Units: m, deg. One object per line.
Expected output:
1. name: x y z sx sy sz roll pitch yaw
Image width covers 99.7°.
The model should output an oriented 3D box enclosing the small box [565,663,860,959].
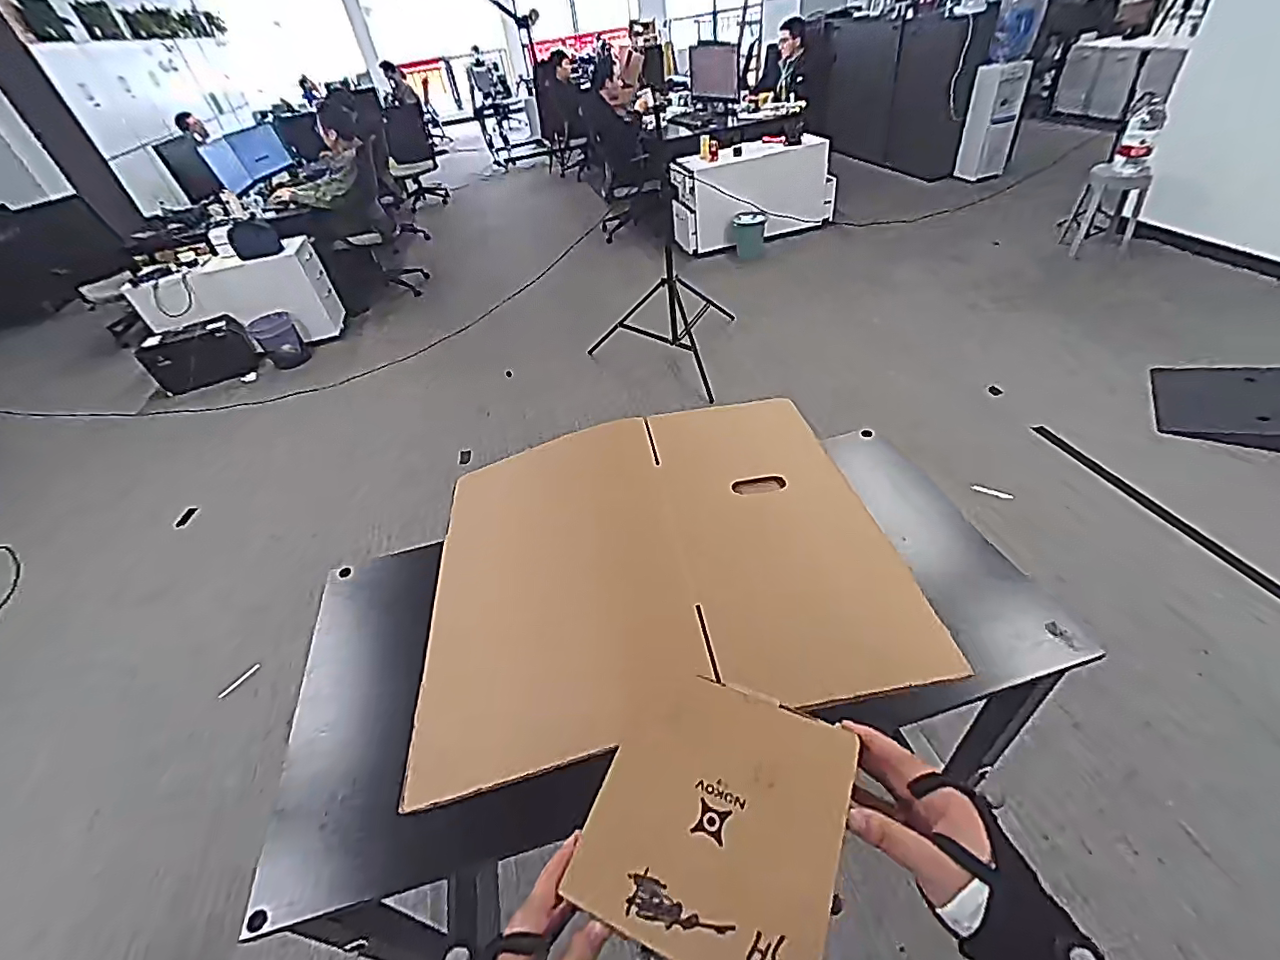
1. small box: 0.066 0.288 0.436 0.168 0.176 0.179 13 48 23
